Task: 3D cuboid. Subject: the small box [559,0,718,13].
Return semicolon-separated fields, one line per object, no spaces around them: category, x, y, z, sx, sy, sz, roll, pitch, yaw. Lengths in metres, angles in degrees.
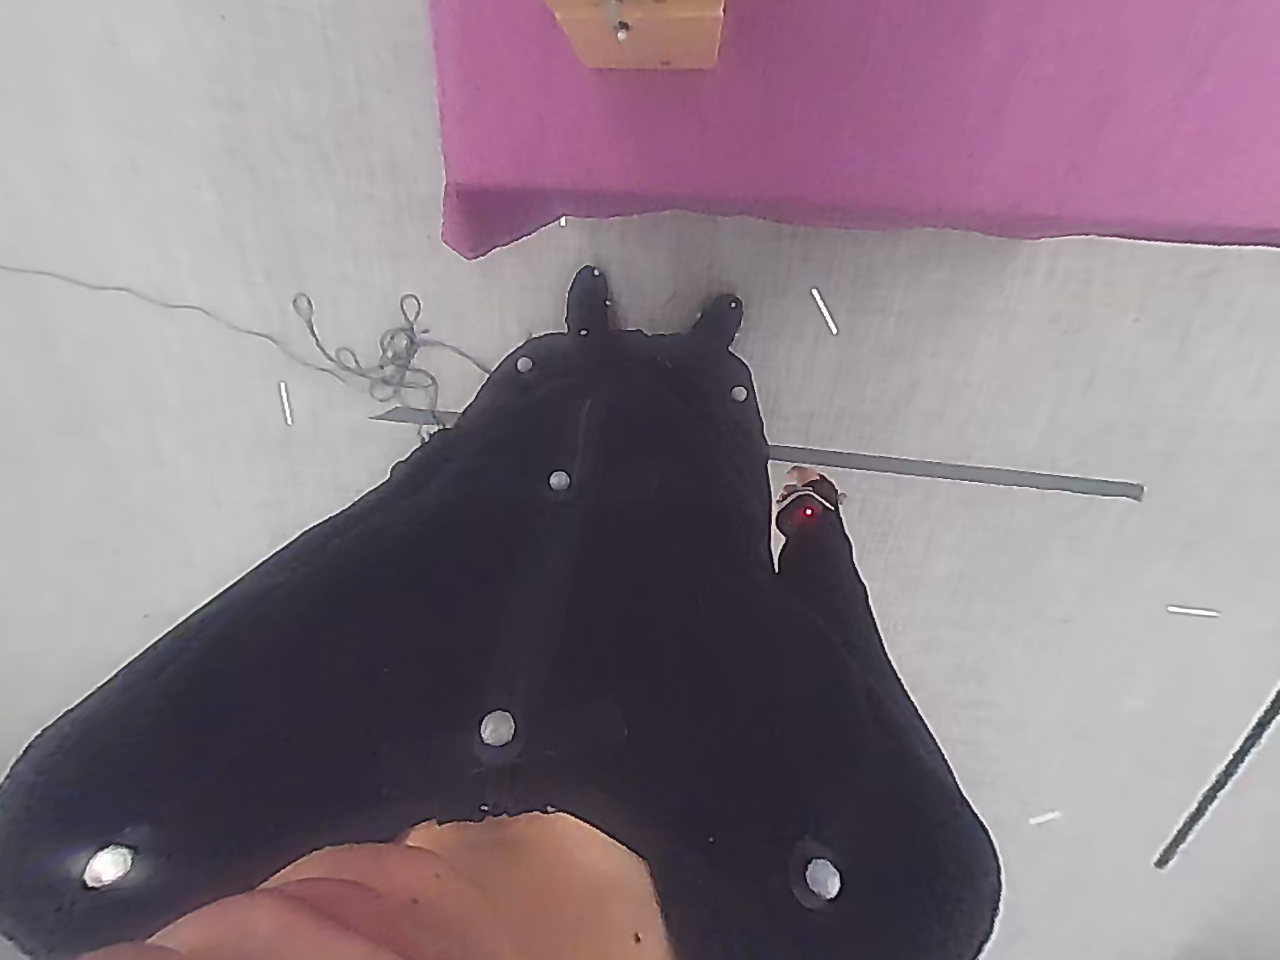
small box;-0.009;-0.497;0.410;0.168;0.176;0.179;2;114;4

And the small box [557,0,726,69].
small box;0.009;-0.560;0.560;0.168;0.176;0.179;4;113;4
